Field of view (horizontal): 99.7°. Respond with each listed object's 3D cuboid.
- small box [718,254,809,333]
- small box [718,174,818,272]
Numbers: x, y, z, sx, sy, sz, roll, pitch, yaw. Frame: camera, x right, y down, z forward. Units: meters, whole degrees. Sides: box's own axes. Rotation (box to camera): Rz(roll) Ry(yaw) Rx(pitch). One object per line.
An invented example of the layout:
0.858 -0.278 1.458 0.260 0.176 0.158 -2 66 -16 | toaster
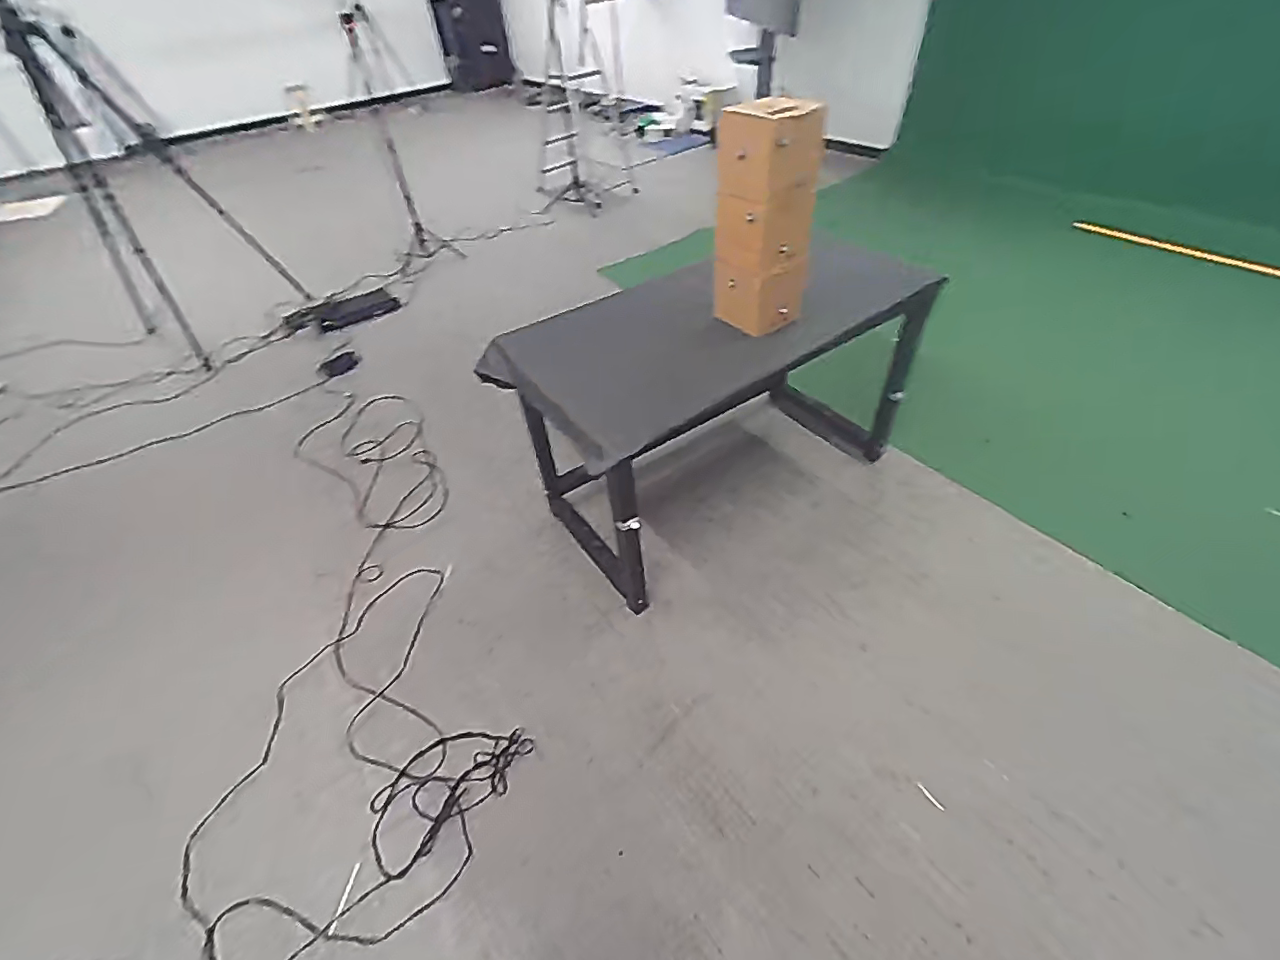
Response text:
0.323 -0.521 1.456 0.168 0.176 0.179 -29 49 -21 | small box
0.308 -0.639 1.346 0.168 0.176 0.179 -28 49 -22 | small box
